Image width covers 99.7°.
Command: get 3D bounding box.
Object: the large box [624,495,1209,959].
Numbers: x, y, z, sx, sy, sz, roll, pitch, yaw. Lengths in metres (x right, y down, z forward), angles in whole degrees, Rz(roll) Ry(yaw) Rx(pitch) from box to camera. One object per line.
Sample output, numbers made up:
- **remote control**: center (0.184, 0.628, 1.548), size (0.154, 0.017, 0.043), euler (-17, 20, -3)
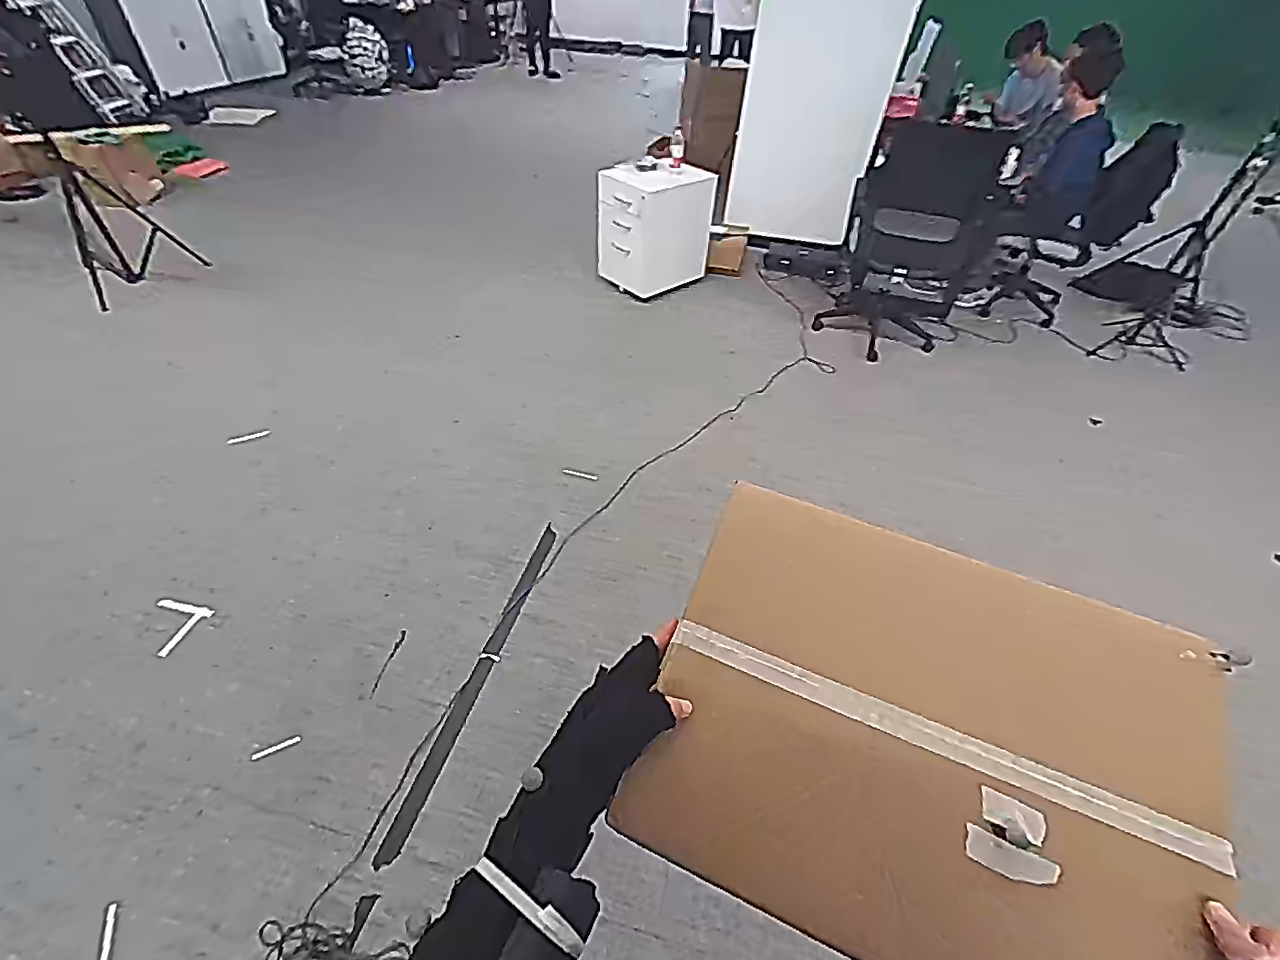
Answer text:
- **large box**: center (0.232, 0.268, 0.566), size (0.408, 0.320, 0.320), euler (20, 67, 14)
